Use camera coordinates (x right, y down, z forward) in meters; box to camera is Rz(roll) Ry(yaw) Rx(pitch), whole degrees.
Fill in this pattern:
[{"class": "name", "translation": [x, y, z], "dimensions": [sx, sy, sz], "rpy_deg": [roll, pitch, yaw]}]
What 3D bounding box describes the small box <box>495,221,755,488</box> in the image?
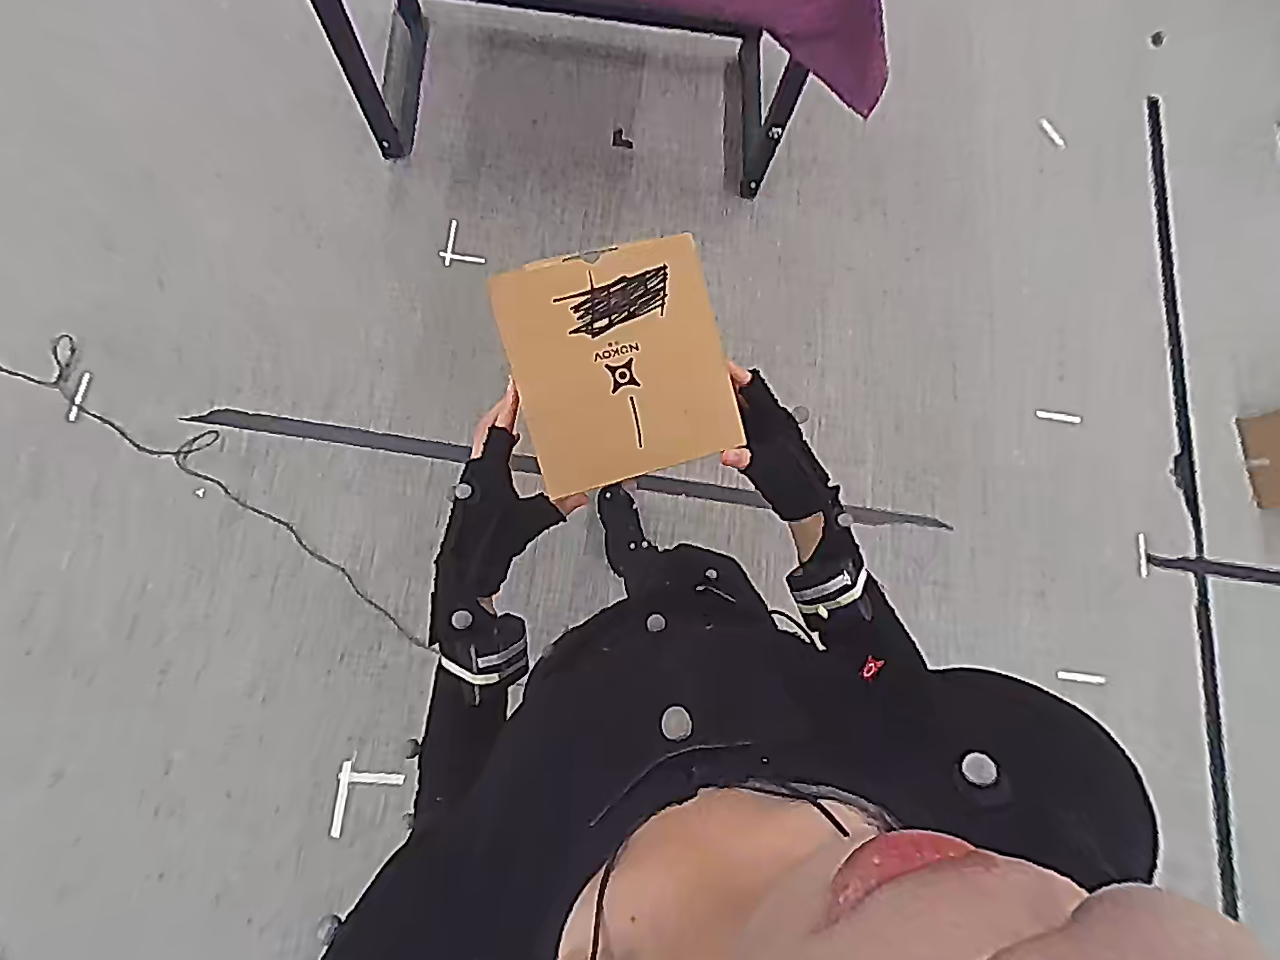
[{"class": "small box", "translation": [-0.021, -0.097, 0.492], "dimensions": [0.168, 0.176, 0.179], "rpy_deg": [-17, 93, -7]}]
